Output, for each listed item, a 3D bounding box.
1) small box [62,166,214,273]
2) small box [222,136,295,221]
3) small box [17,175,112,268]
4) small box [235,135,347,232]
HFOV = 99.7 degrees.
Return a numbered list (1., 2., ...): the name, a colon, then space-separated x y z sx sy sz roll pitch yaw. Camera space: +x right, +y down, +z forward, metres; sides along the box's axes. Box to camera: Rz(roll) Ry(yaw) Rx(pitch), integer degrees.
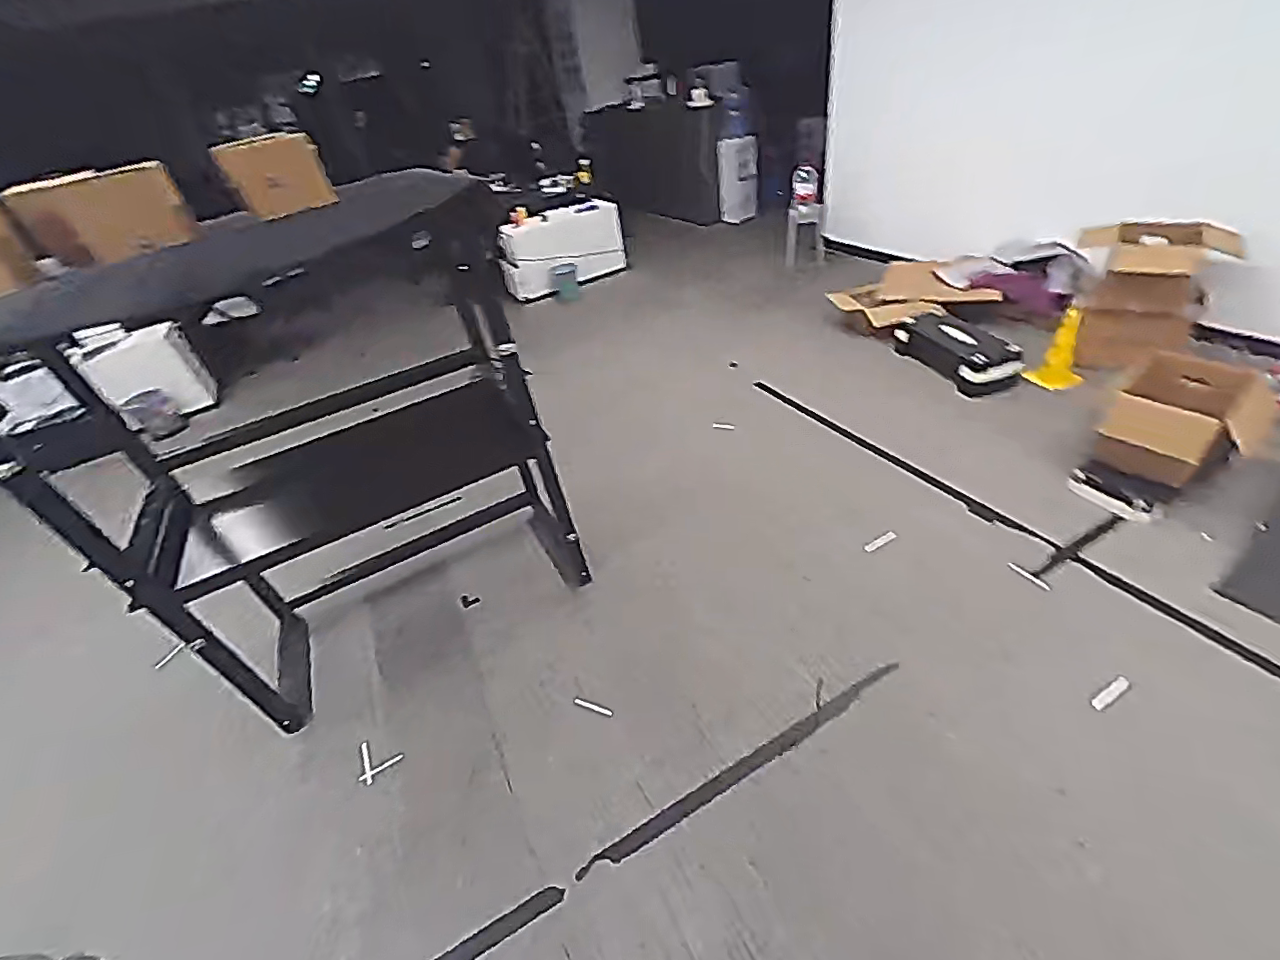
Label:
1. small box: -1.093 -0.579 1.198 0.179 0.176 0.168 -25 39 -18
2. small box: -0.999 -0.830 1.488 0.179 0.176 0.168 -25 41 -16
3. small box: -1.364 -0.644 1.348 0.168 0.176 0.179 -30 42 -21
4. small box: -0.826 -0.707 1.292 0.168 0.176 0.179 -26 40 -18
